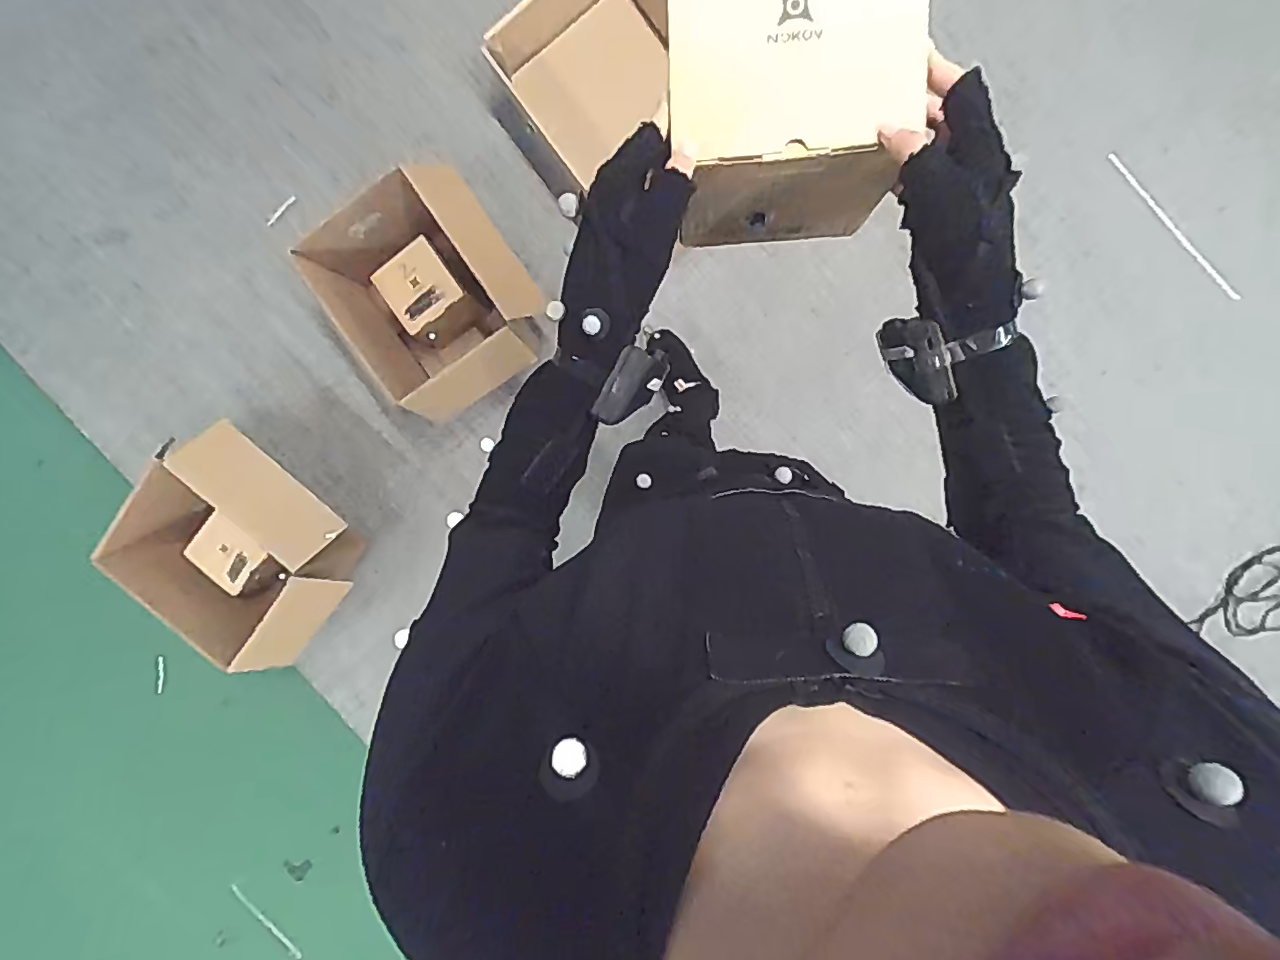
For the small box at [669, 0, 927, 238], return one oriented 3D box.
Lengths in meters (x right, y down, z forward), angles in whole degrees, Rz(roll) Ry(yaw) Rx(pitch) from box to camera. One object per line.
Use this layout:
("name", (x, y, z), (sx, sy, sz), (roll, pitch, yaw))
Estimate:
("small box", (0.109, -0.315, 0.429), (0.168, 0.176, 0.179), (-2, 96, 8))
